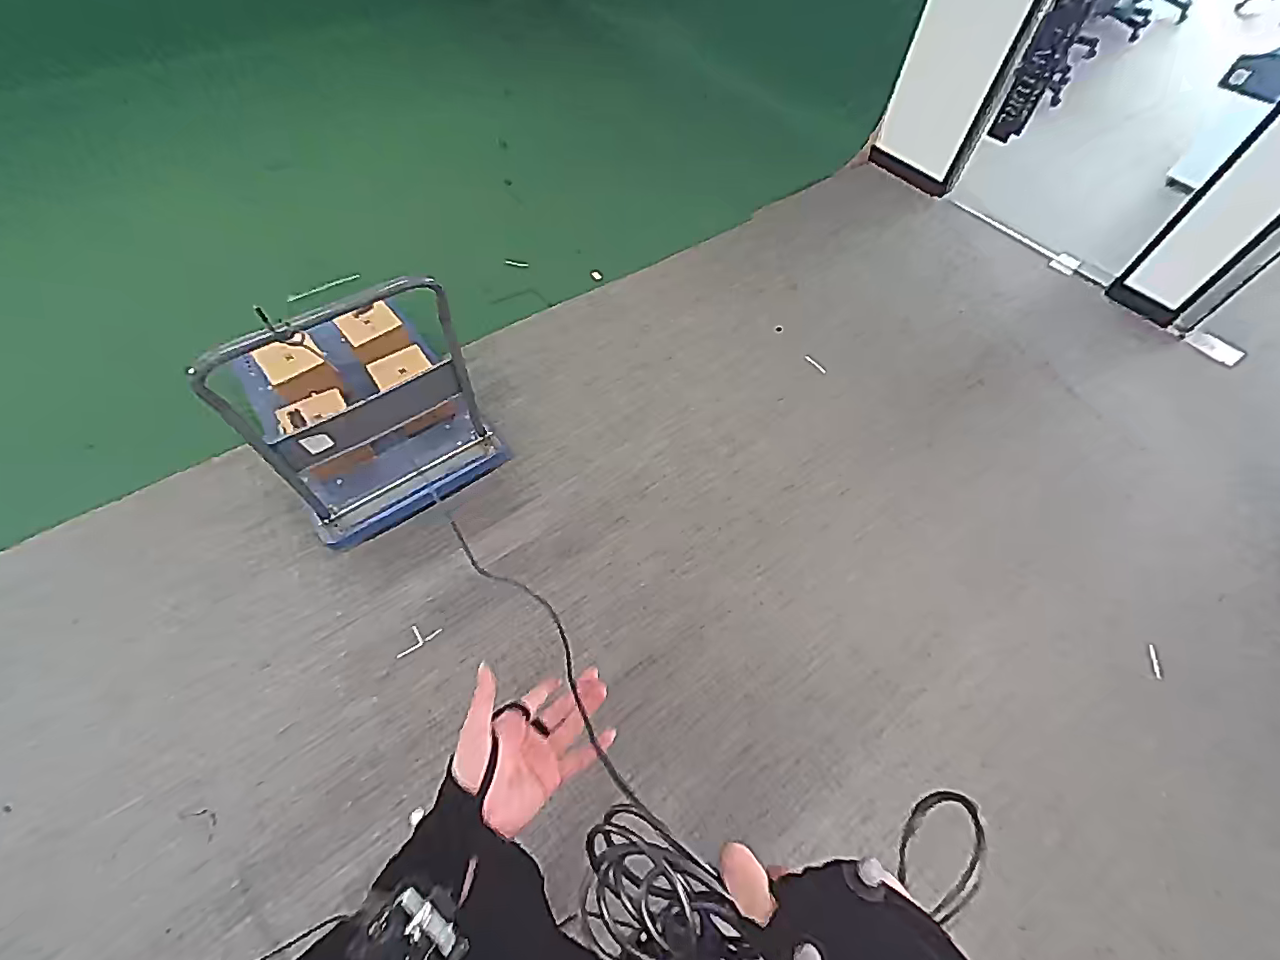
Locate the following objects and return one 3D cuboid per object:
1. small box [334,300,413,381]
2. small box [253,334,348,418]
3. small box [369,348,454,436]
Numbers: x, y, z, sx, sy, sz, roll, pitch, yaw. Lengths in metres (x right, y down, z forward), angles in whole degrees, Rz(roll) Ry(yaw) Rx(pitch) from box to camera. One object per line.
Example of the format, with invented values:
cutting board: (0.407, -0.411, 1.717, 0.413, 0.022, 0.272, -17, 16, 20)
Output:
small box: (-0.874, -0.458, 1.801, 0.168, 0.176, 0.179, -36, 67, -21)
small box: (-1.063, -0.320, 1.707, 0.168, 0.176, 0.179, -35, 66, -22)
small box: (-0.711, -0.273, 1.692, 0.168, 0.176, 0.179, -31, 65, -20)
